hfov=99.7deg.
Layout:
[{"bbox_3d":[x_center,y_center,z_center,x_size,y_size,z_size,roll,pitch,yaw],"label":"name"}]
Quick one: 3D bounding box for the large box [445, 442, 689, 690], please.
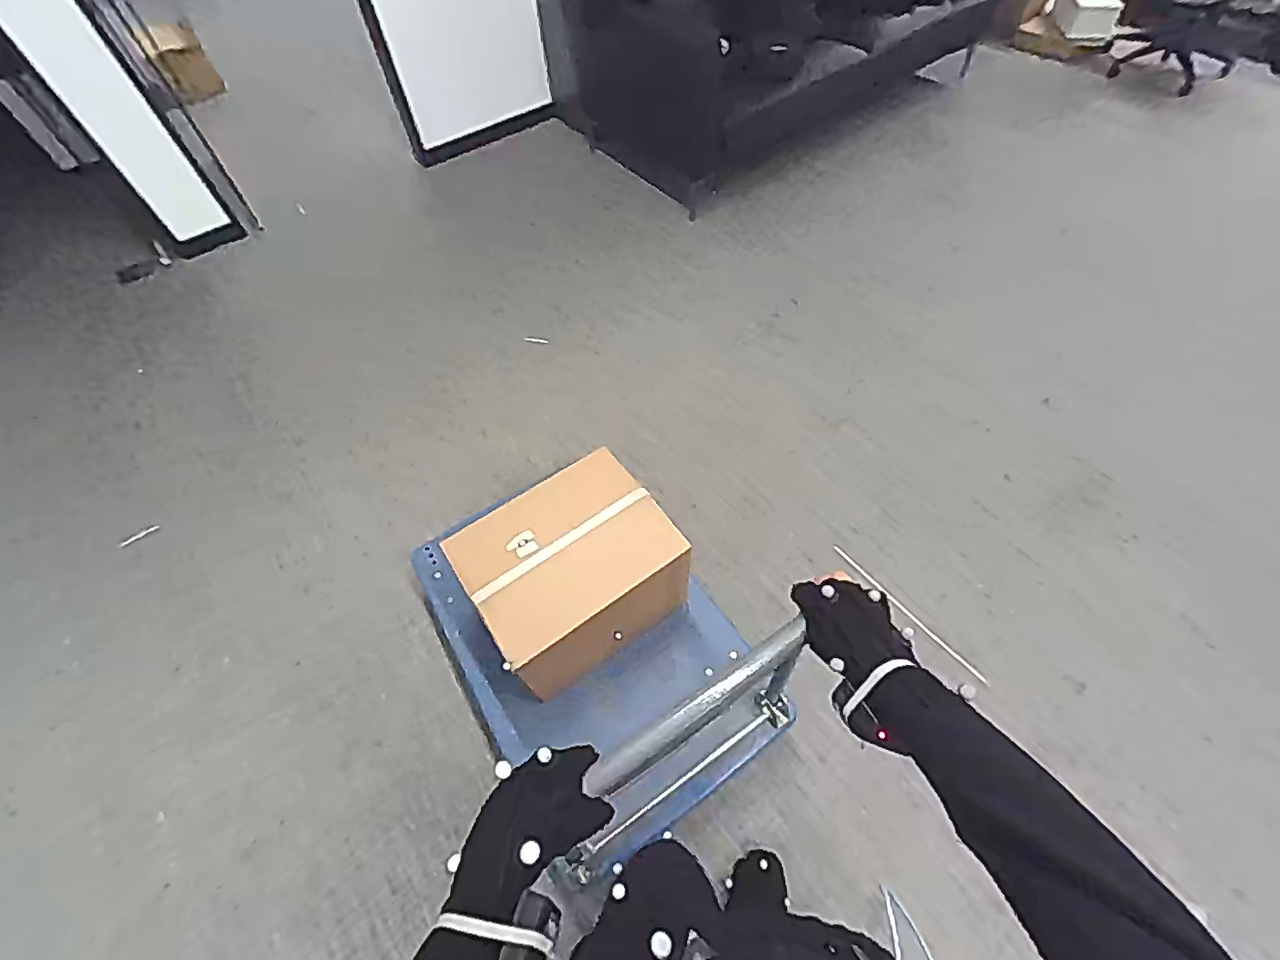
[{"bbox_3d":[-0.143,0.195,1.205,0.408,0.320,0.320,-33,62,-17],"label":"large box"}]
